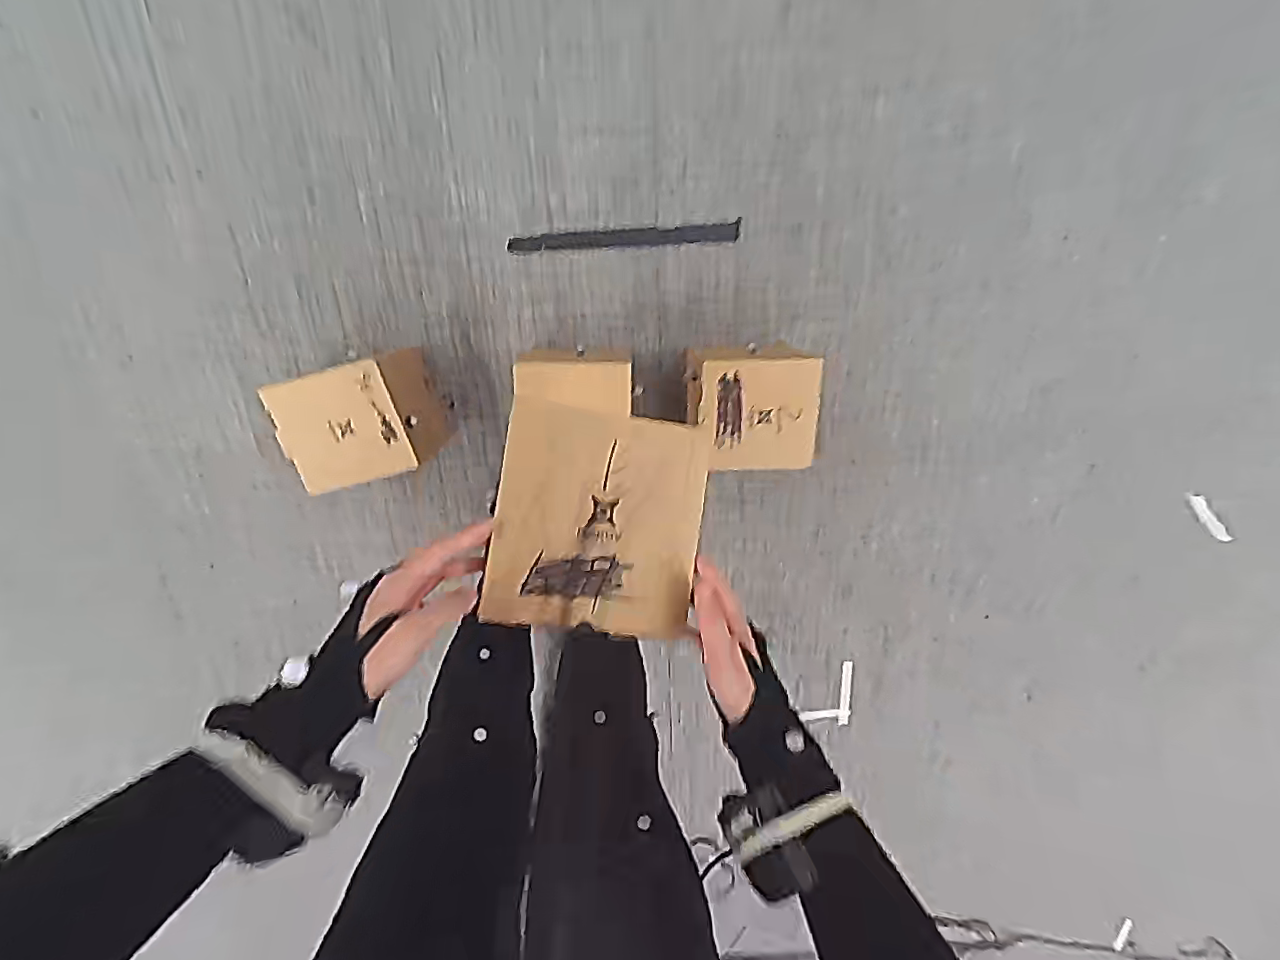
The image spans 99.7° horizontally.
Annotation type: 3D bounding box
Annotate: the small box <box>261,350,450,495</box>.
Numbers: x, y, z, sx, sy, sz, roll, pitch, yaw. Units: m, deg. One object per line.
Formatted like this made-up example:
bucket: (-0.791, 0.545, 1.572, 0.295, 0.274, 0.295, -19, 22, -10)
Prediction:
small box: (-0.427, -0.096, 0.846, 0.179, 0.176, 0.168, -14, 111, 3)

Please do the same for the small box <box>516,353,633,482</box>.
small box: (-0.098, -0.105, 0.856, 0.168, 0.176, 0.179, 0, 110, -2)
